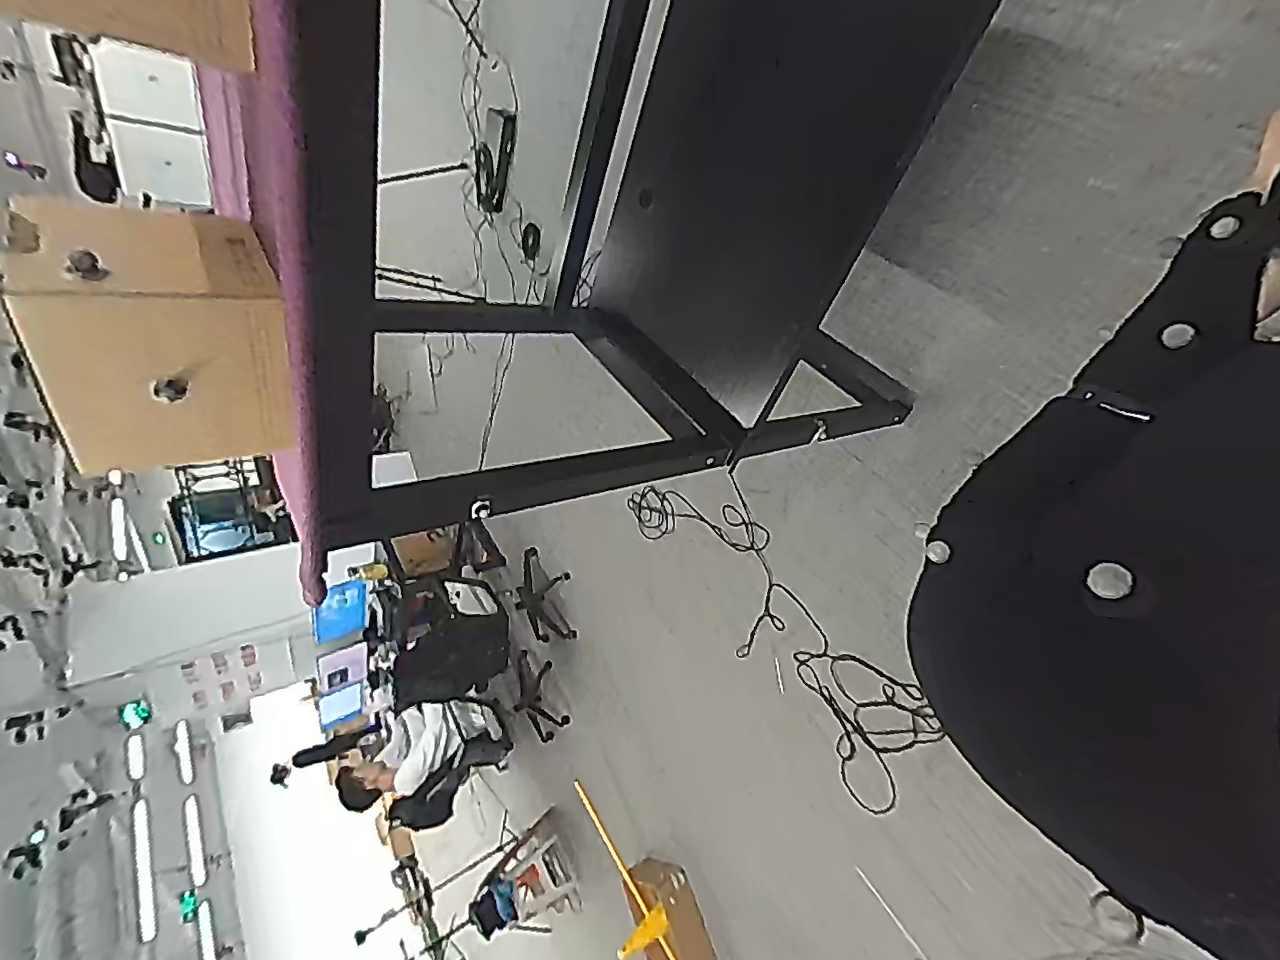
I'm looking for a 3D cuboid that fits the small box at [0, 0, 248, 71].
[{"bbox_3d":[-0.359,-0.389,0.336,0.179,0.176,0.168,52,135,31],"label":"small box"}]
